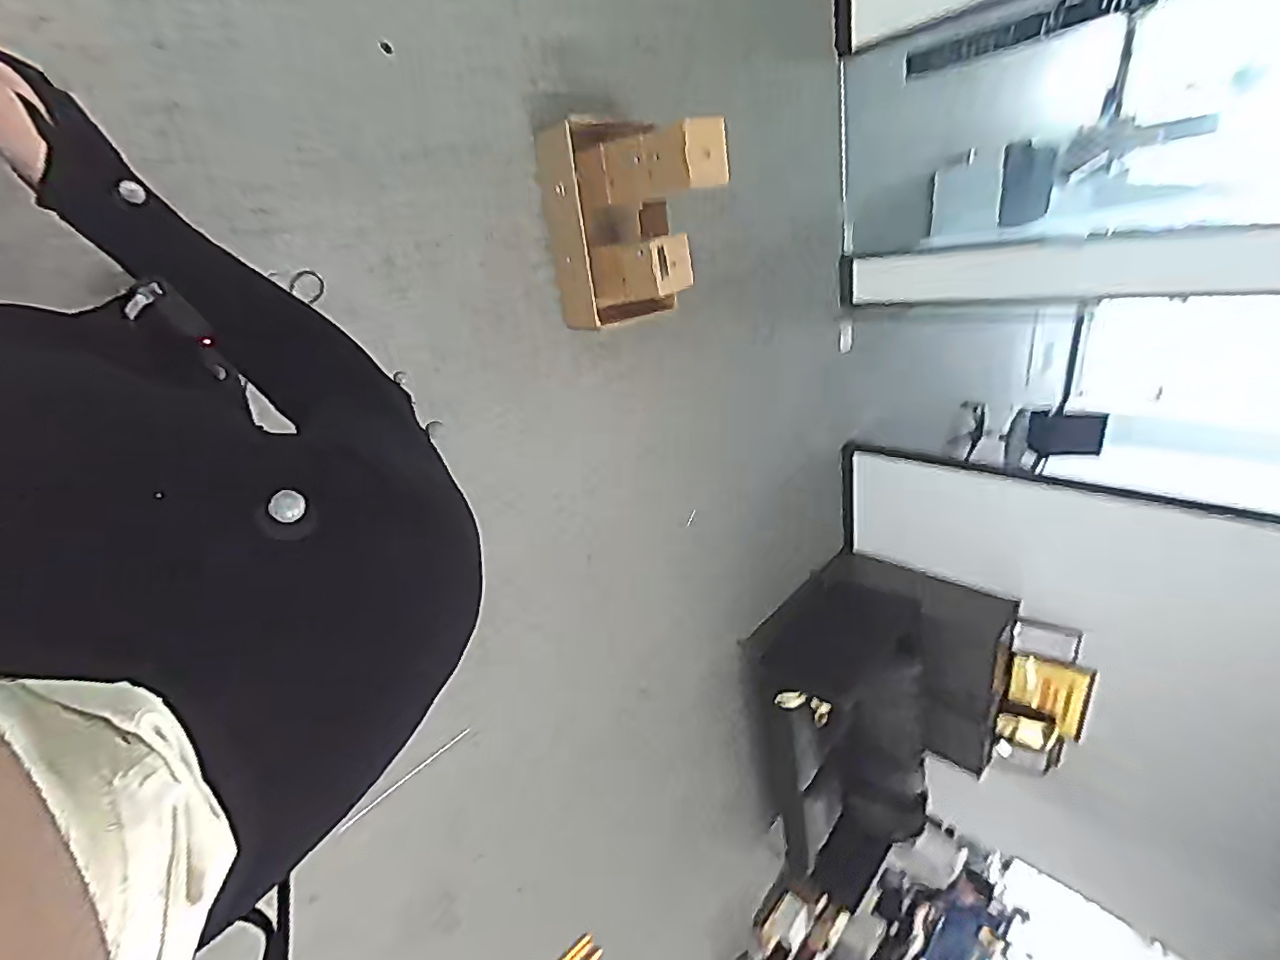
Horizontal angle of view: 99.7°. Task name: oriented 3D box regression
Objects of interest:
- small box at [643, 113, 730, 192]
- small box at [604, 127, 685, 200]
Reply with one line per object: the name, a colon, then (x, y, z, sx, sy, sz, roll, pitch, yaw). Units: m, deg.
small box: (0.132, -0.928, 1.534, 0.179, 0.176, 0.168, -30, 122, -35)
small box: (0.018, -0.961, 1.646, 0.179, 0.176, 0.168, -30, 121, -37)
